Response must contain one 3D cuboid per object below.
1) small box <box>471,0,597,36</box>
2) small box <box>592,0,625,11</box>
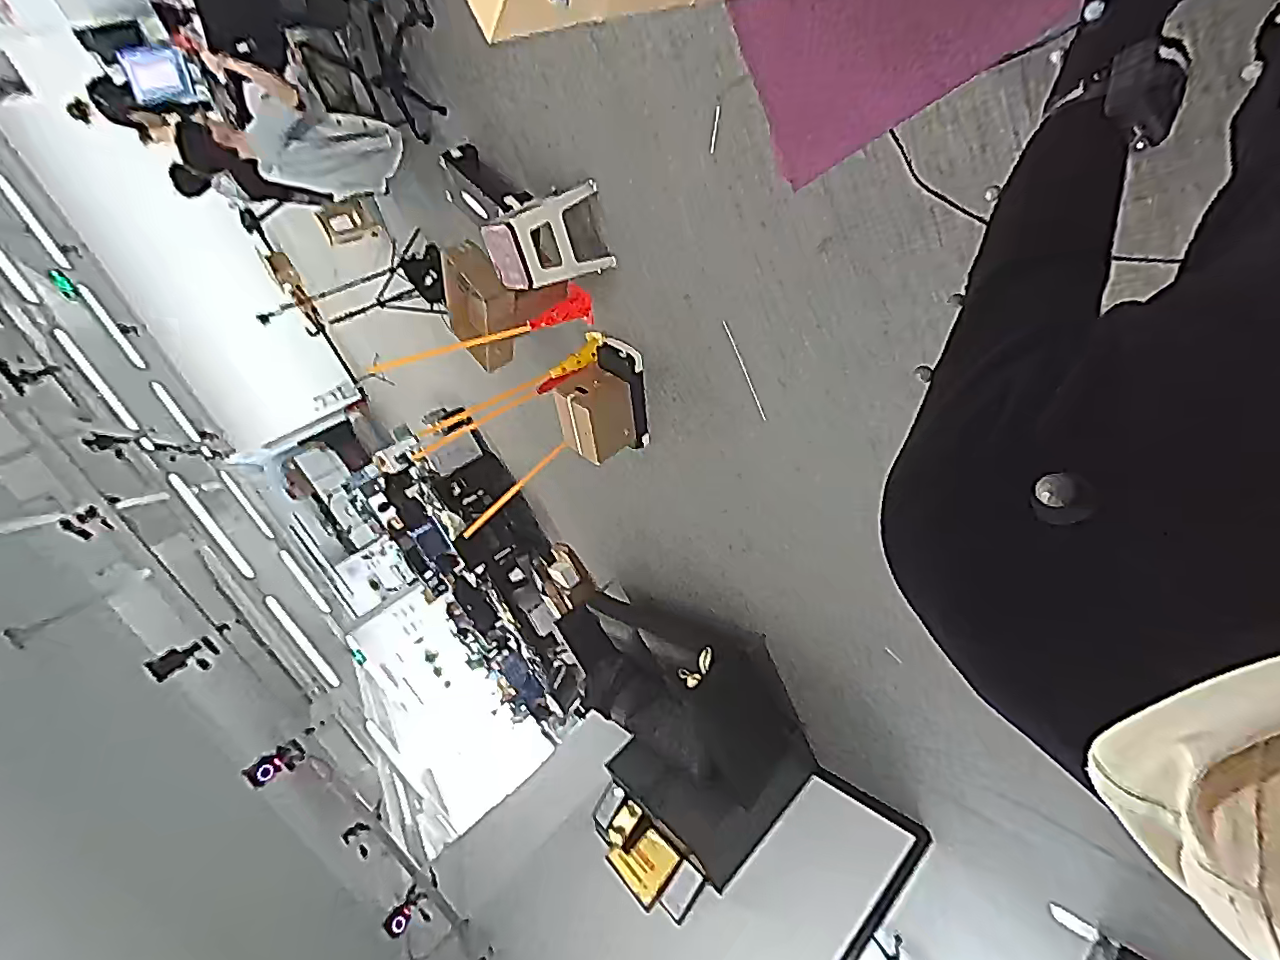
[{"bbox_3d":[-0.111,-0.624,0.563,0.168,0.176,0.179,-2,119,61],"label":"small box"},{"bbox_3d":[0.009,-0.709,0.632,0.168,0.176,0.179,-1,121,61],"label":"small box"}]
